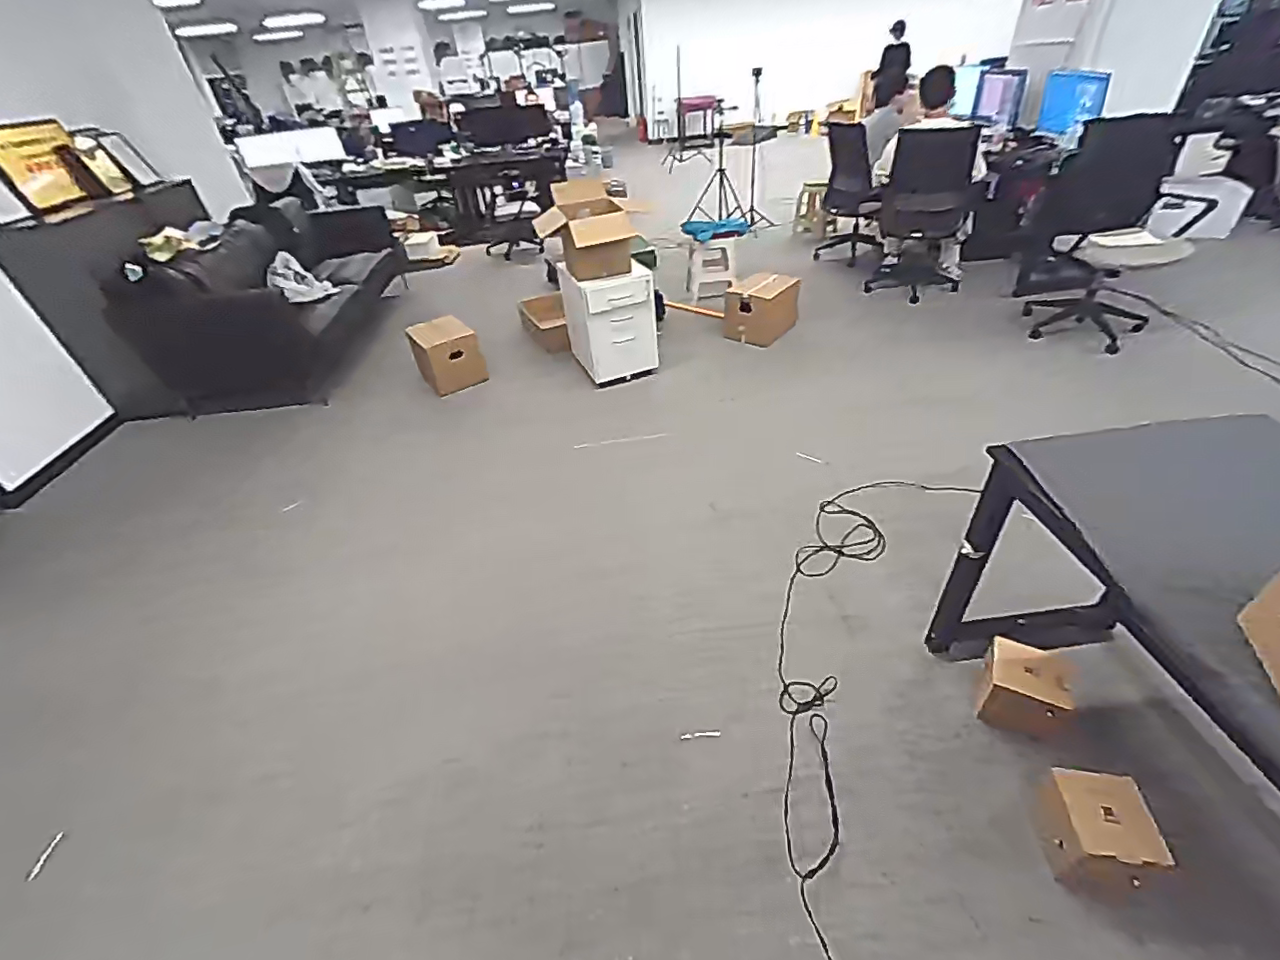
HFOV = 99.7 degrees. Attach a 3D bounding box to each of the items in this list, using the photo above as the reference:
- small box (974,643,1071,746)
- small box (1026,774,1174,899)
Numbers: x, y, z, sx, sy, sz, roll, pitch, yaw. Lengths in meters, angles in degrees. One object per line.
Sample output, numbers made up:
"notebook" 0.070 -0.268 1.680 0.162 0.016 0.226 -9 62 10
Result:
"small box" 1.026 0.582 1.463 0.179 0.176 0.168 15 42 25
"small box" 0.999 0.787 1.193 0.168 0.176 0.179 3 36 10
